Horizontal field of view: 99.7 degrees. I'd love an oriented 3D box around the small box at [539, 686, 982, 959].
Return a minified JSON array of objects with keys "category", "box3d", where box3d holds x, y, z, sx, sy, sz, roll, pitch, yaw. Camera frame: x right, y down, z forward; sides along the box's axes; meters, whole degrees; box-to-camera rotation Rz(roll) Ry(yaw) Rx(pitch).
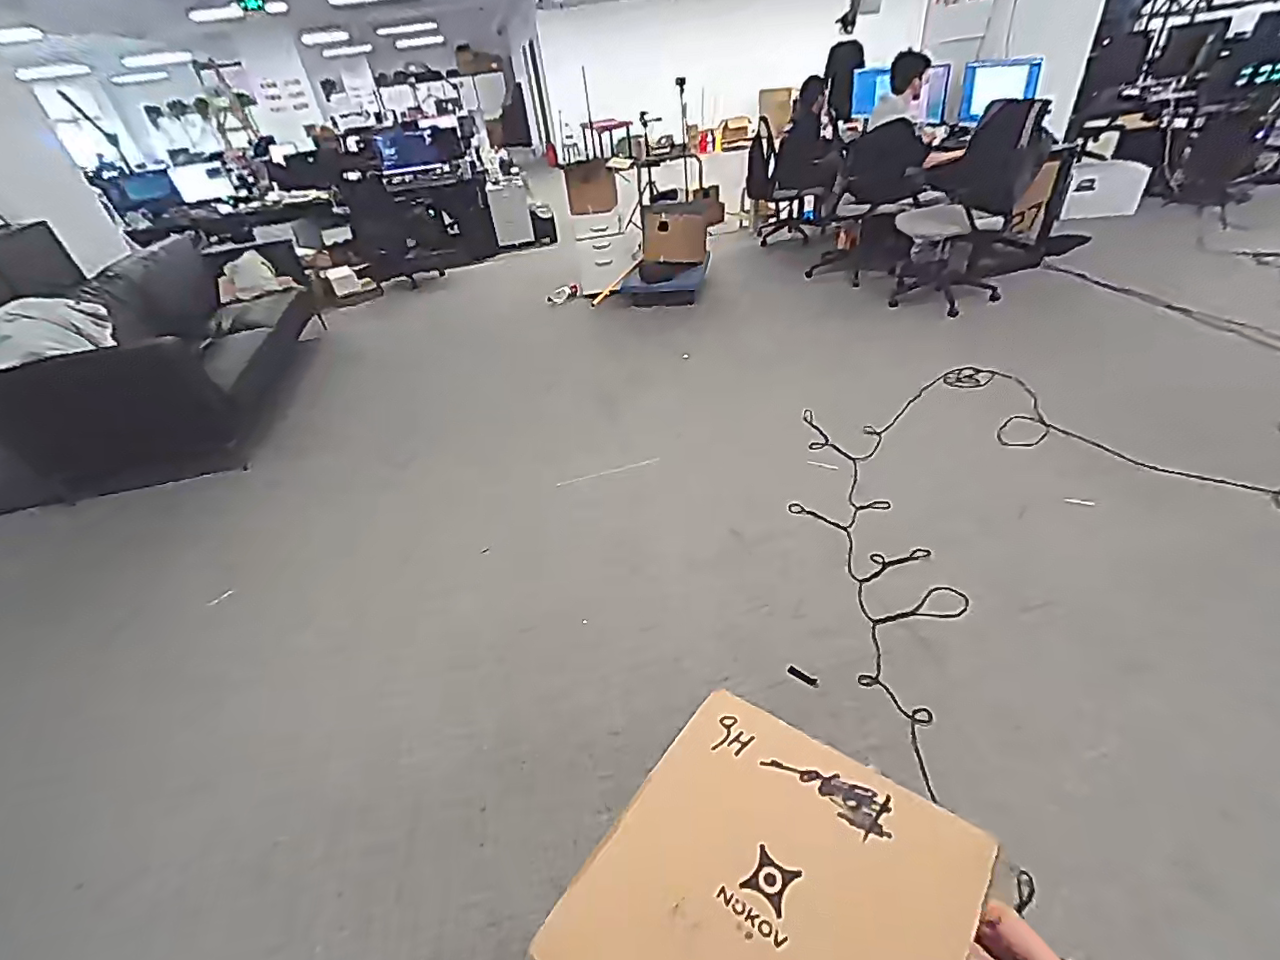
[{"category":"small box","box3d":[0.078,0.270,0.318,0.168,0.176,0.179,17,44,39]}]
